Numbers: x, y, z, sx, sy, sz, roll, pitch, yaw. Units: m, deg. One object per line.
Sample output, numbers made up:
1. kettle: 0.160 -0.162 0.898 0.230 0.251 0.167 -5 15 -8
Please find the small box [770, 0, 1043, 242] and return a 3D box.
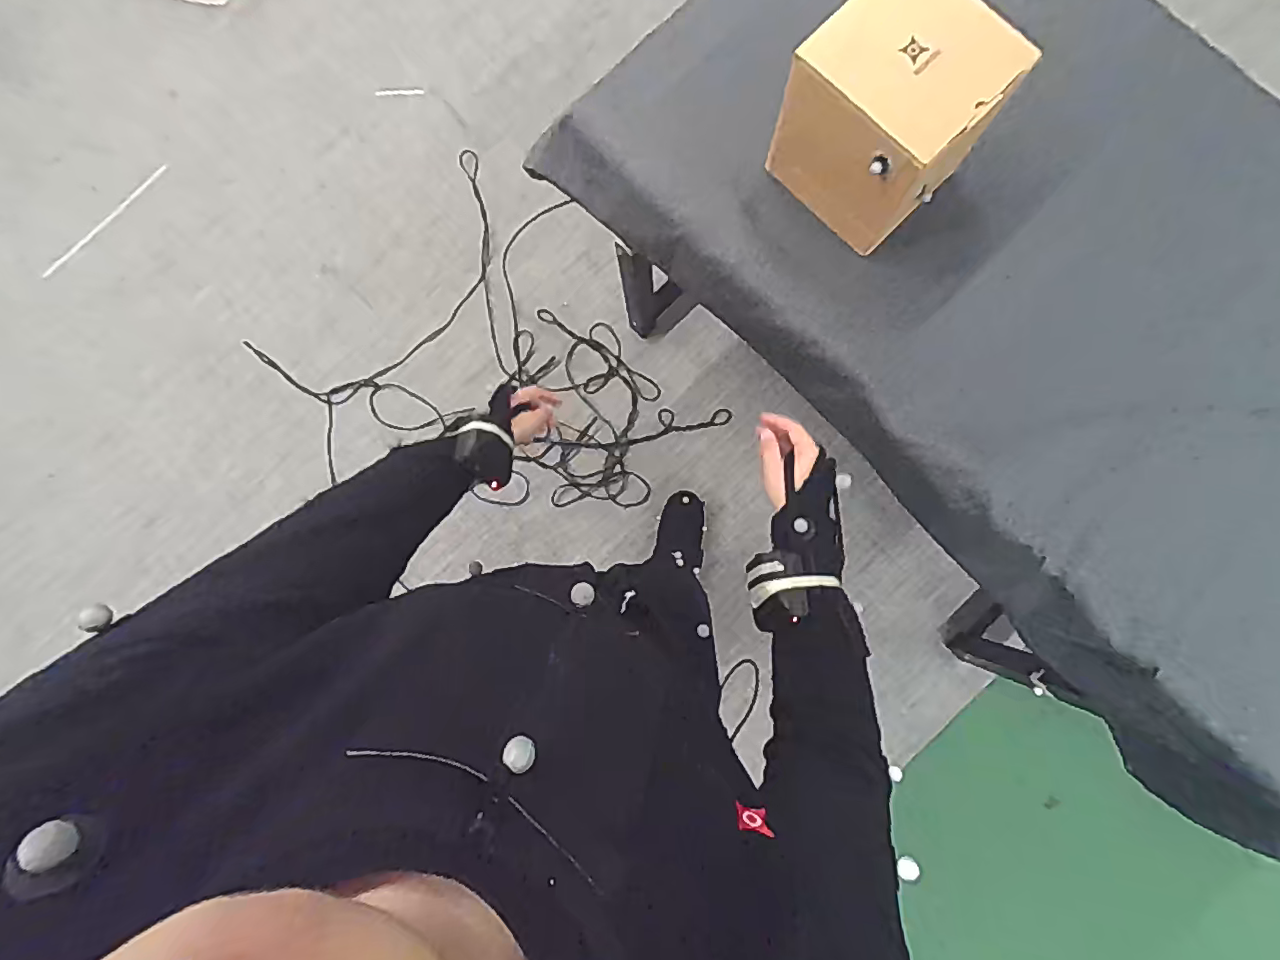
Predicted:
1. small box: 0.269 -0.407 0.597 0.168 0.176 0.179 -44 84 -2
